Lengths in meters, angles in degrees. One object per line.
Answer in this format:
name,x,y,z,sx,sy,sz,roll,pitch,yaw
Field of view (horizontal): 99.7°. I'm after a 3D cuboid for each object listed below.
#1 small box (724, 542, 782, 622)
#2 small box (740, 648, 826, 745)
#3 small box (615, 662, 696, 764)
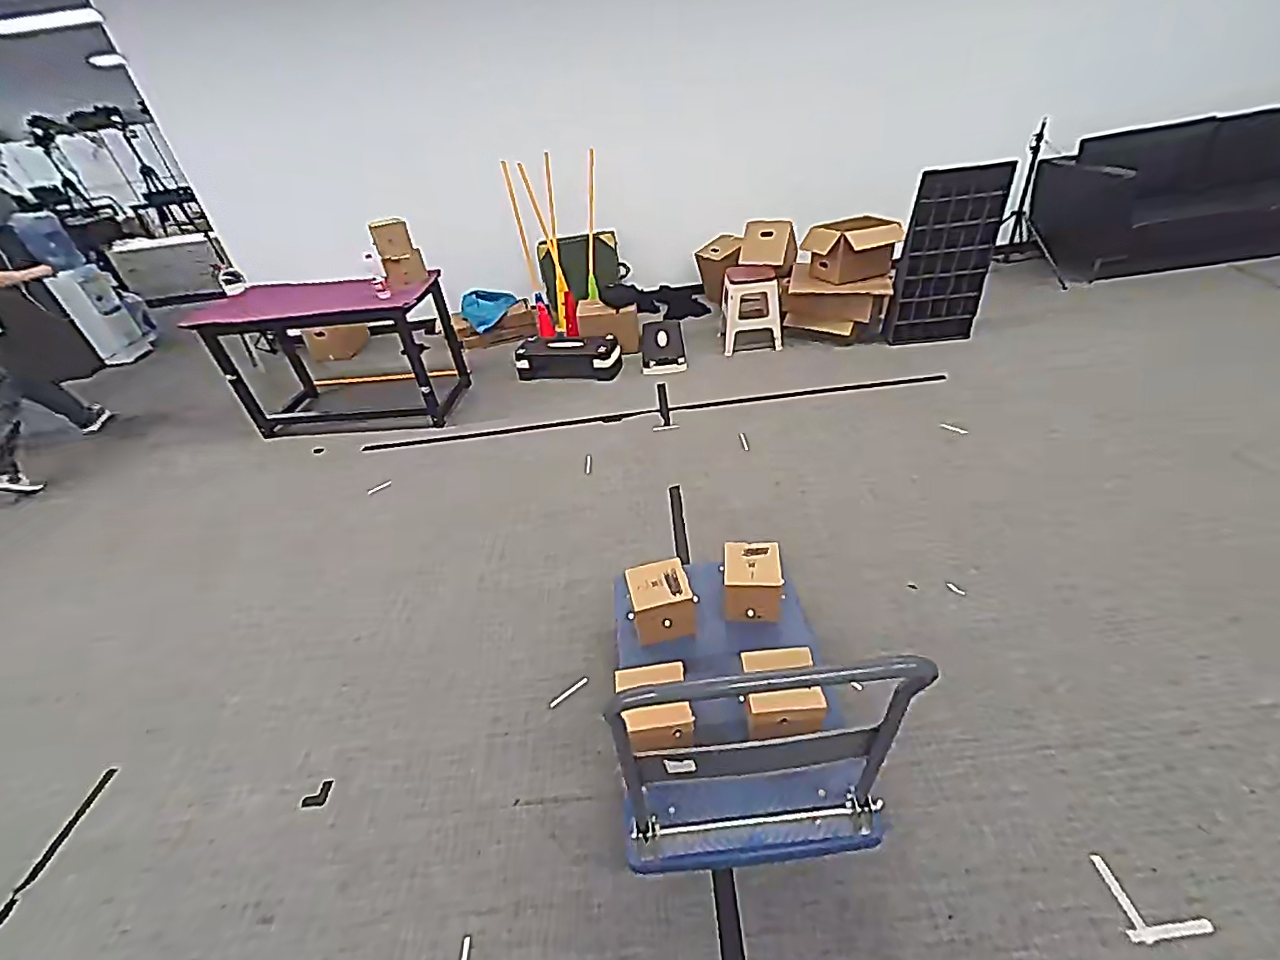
small box,0.343,0.311,1.661,0.168,0.176,0.179,-1,39,9
small box,0.352,0.545,1.354,0.179,0.176,0.168,-6,37,3
small box,0.039,0.587,1.358,0.179,0.176,0.168,-8,37,-2
